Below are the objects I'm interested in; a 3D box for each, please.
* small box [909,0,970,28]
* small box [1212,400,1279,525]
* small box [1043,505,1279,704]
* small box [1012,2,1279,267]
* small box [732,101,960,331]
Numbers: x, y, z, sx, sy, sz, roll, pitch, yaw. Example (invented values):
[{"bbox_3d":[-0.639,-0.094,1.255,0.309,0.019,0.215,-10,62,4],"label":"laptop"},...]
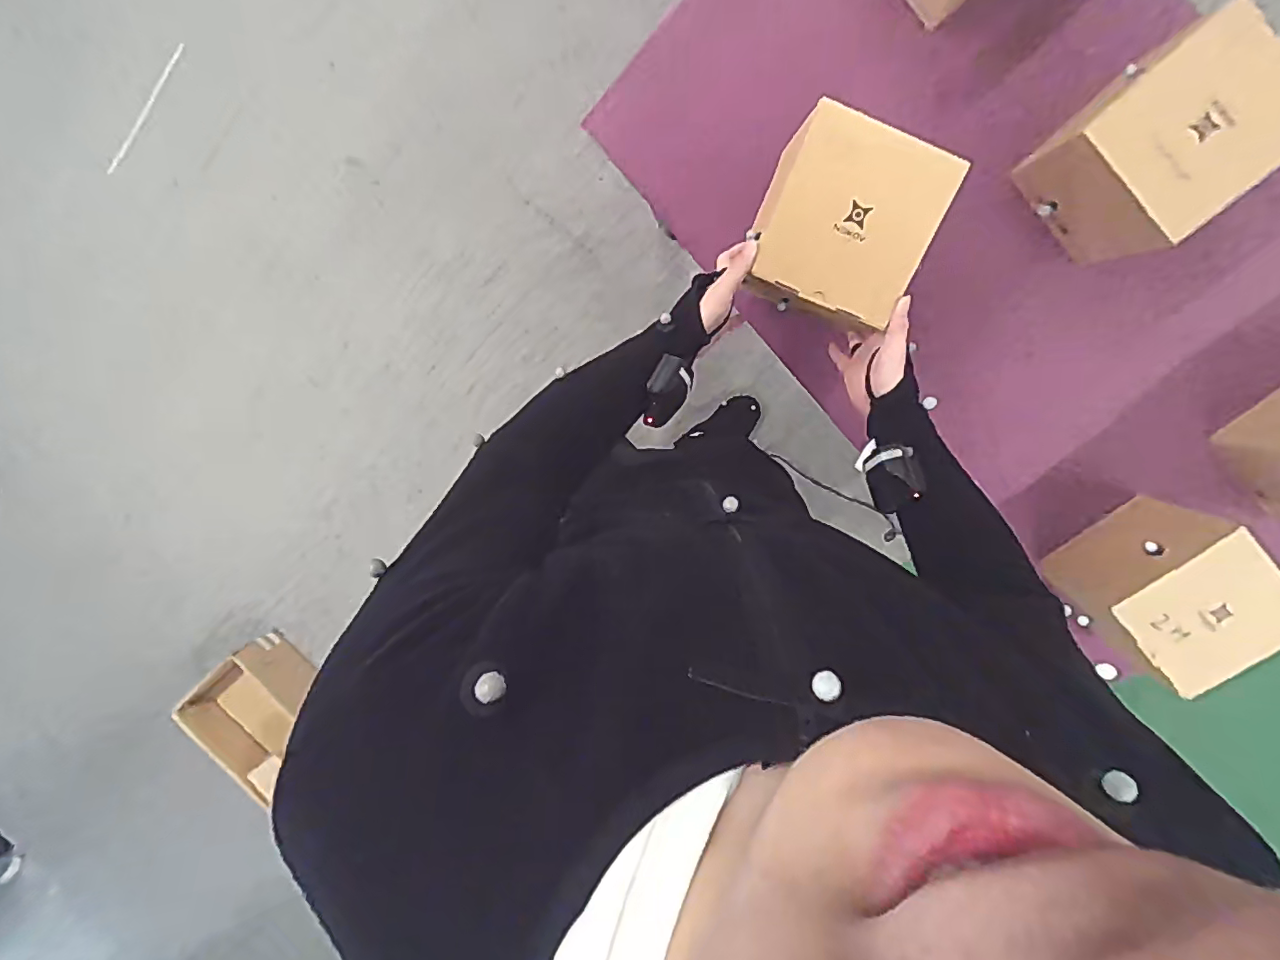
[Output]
[{"bbox_3d":[0.382,-0.677,0.607,0.179,0.176,0.168,-39,95,15],"label":"small box"},{"bbox_3d":[0.913,-0.031,0.679,0.179,0.176,0.168,-42,93,14],"label":"small box"},{"bbox_3d":[0.721,0.158,0.745,0.179,0.176,0.168,-40,93,14],"label":"small box"},{"bbox_3d":[0.604,-0.386,0.645,0.179,0.176,0.168,-41,94,15],"label":"small box"},{"bbox_3d":[0.219,-0.290,0.635,0.168,0.176,0.179,21,107,-4],"label":"small box"}]
